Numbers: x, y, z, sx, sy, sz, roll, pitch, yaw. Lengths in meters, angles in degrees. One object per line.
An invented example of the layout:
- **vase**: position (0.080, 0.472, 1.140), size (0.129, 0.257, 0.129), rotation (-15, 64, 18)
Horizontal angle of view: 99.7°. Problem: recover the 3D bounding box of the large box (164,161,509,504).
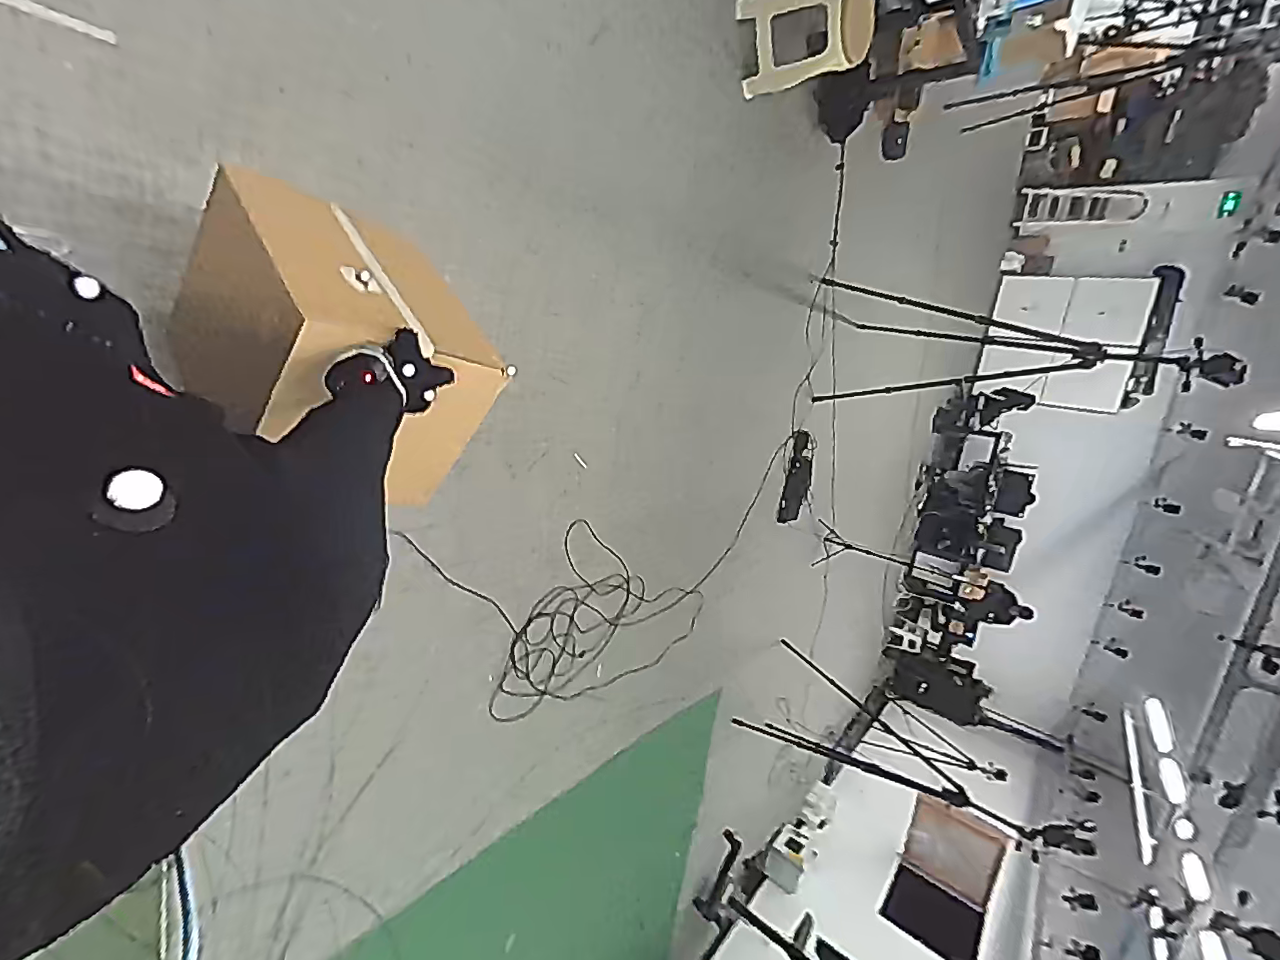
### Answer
- **large box**: position (-0.497, -0.209, 0.877), size (0.320, 0.408, 0.320), rotation (-50, 154, 23)
